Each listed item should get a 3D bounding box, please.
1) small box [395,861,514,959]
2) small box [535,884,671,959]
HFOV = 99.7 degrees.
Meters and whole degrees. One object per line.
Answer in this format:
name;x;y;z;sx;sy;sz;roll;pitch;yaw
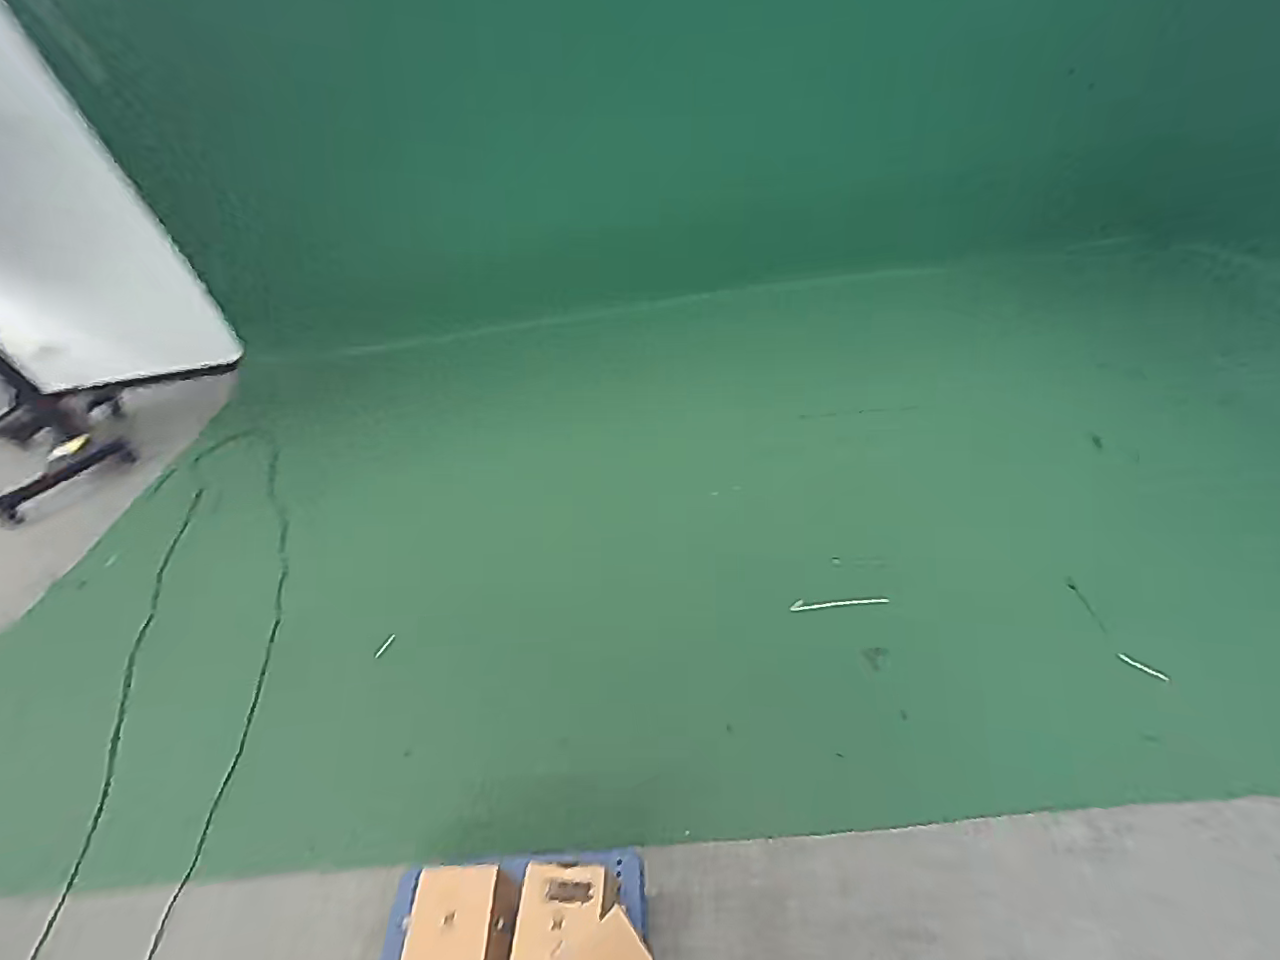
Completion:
small box;-0.372;0.912;1.118;0.168;0.176;0.179;-5;43;5
small box;-0.029;0.551;0.537;0.168;0.176;0.179;-30;53;-23
